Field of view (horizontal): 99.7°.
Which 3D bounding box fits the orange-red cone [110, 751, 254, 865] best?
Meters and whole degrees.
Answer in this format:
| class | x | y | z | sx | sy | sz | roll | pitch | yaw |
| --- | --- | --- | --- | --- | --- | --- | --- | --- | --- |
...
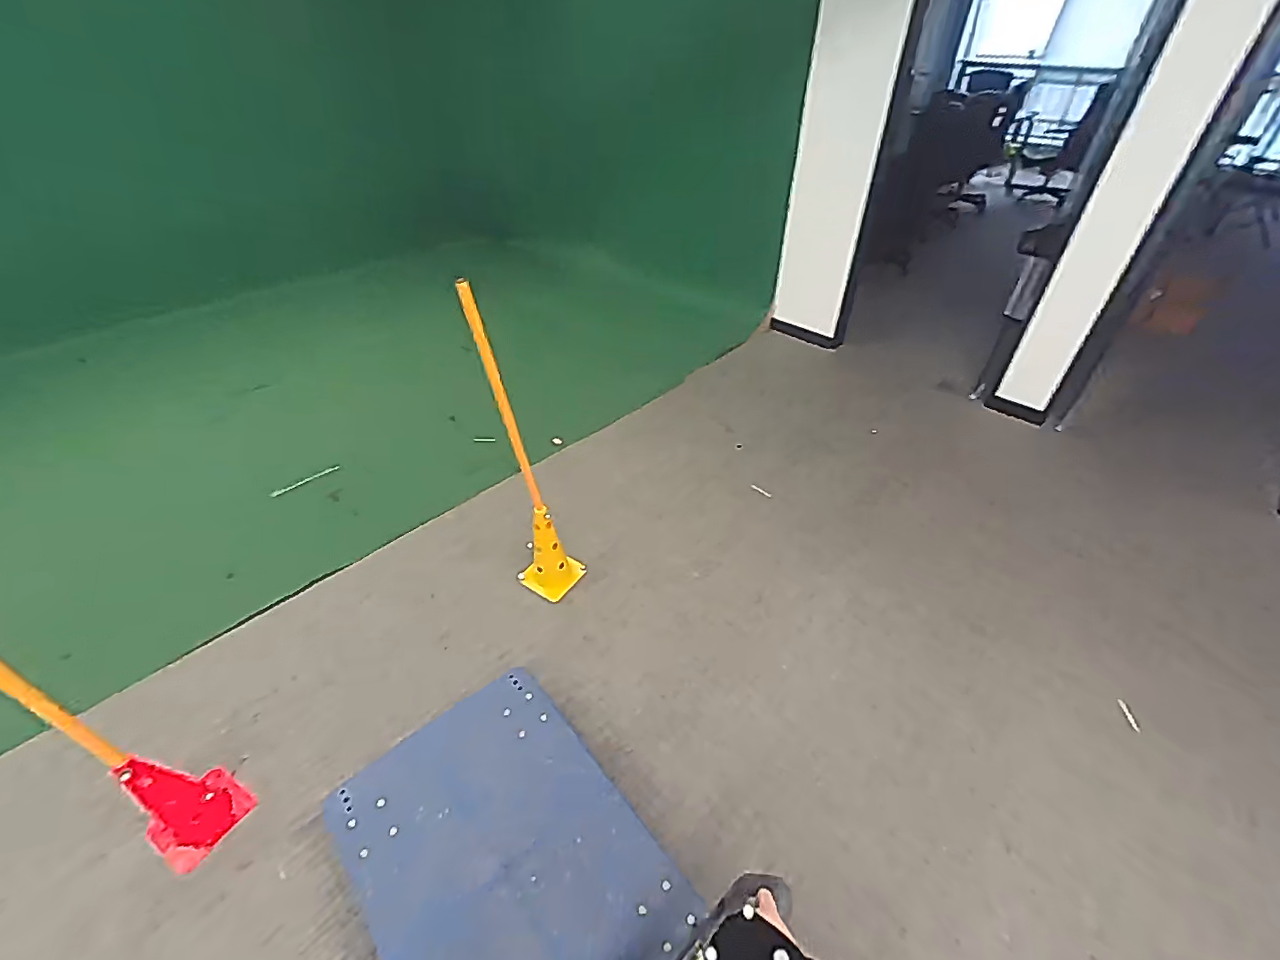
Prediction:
| class | x | y | z | sx | sy | sz | roll | pitch | yaw |
| --- | --- | --- | --- | --- | --- | --- | --- | --- | --- |
| orange-red cone | -1.182 | 0.768 | 1.345 | 0.198 | 0.360 | 0.199 | 21 | 47 | 23 |
